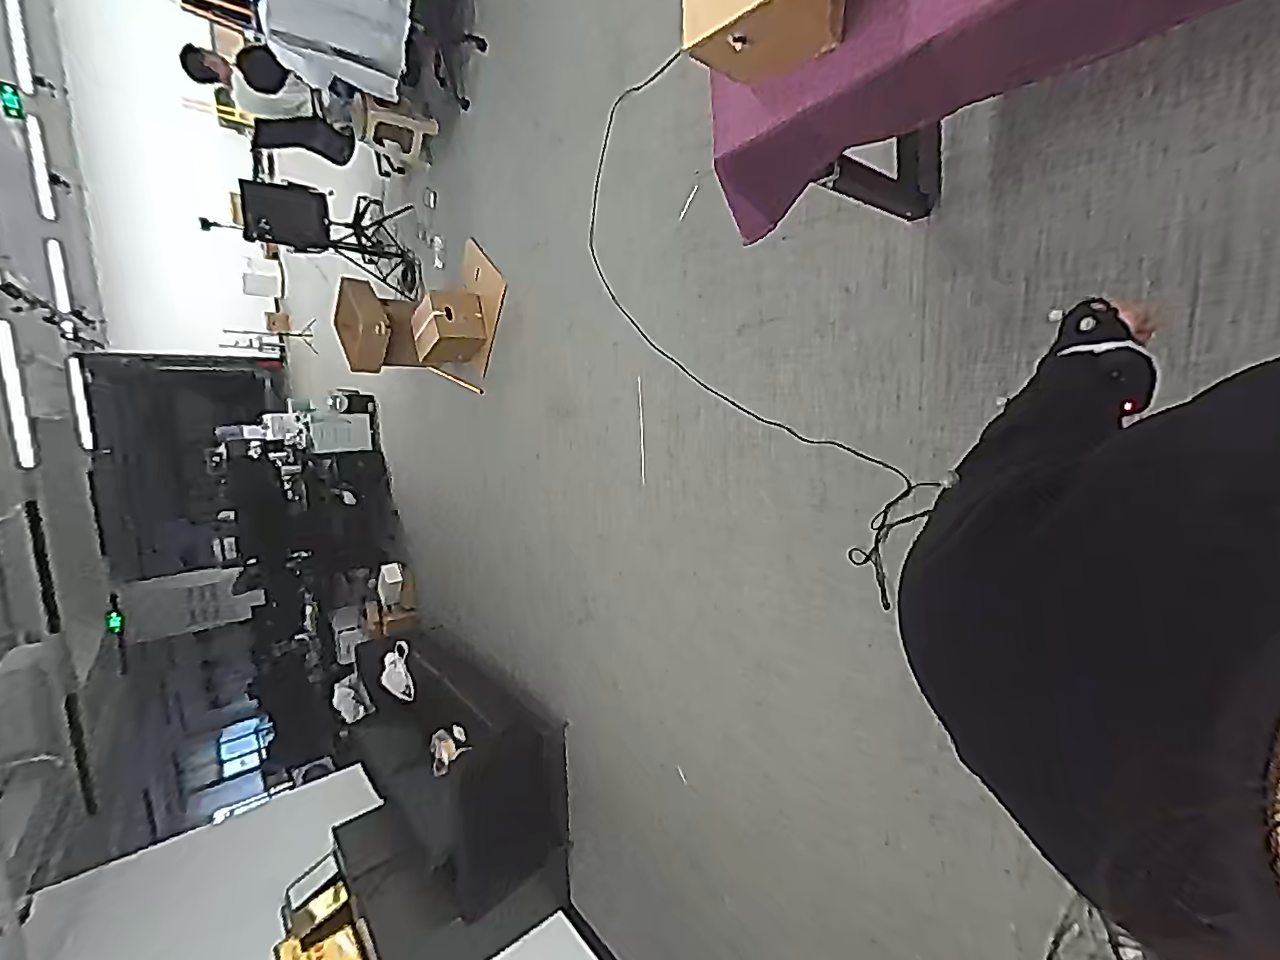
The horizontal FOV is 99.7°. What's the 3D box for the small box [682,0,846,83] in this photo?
[{"bbox_3d":[0.184,-0.727,0.795,0.179,0.176,0.168,15,108,48],"label":"small box"}]
